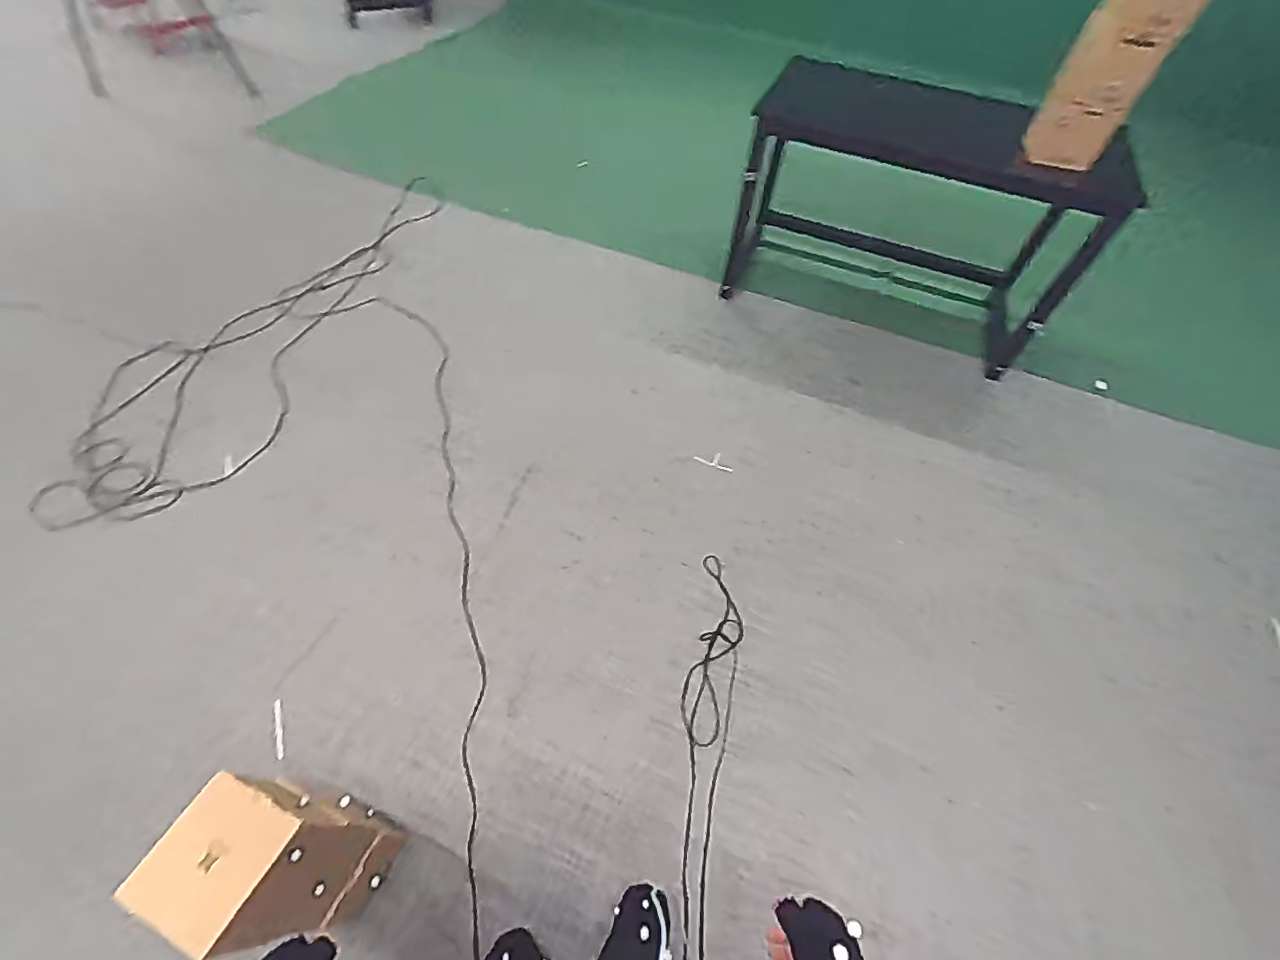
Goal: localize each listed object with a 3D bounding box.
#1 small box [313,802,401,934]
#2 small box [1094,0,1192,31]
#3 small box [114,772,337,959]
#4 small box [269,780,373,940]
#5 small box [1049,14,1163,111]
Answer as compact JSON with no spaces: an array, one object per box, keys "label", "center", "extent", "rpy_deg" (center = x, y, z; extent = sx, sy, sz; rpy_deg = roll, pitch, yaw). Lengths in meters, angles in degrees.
[{"label":"small box","center":[-0.620,0.770,1.093],"extent":[0.179,0.176,0.168],"rpy_deg":[22,56,11]},{"label":"small box","center":[1.321,-1.283,1.383],"extent":[0.168,0.176,0.179],"rpy_deg":[14,54,5]},{"label":"small box","center":[-0.609,0.584,0.824],"extent":[0.168,0.176,0.179],"rpy_deg":[22,55,12]},{"label":"small box","center":[-0.615,0.671,0.961],"extent":[0.168,0.176,0.179],"rpy_deg":[23,55,12]},{"label":"small box","center":[1.303,-1.180,1.530],"extent":[0.168,0.176,0.179],"rpy_deg":[14,54,6]}]
